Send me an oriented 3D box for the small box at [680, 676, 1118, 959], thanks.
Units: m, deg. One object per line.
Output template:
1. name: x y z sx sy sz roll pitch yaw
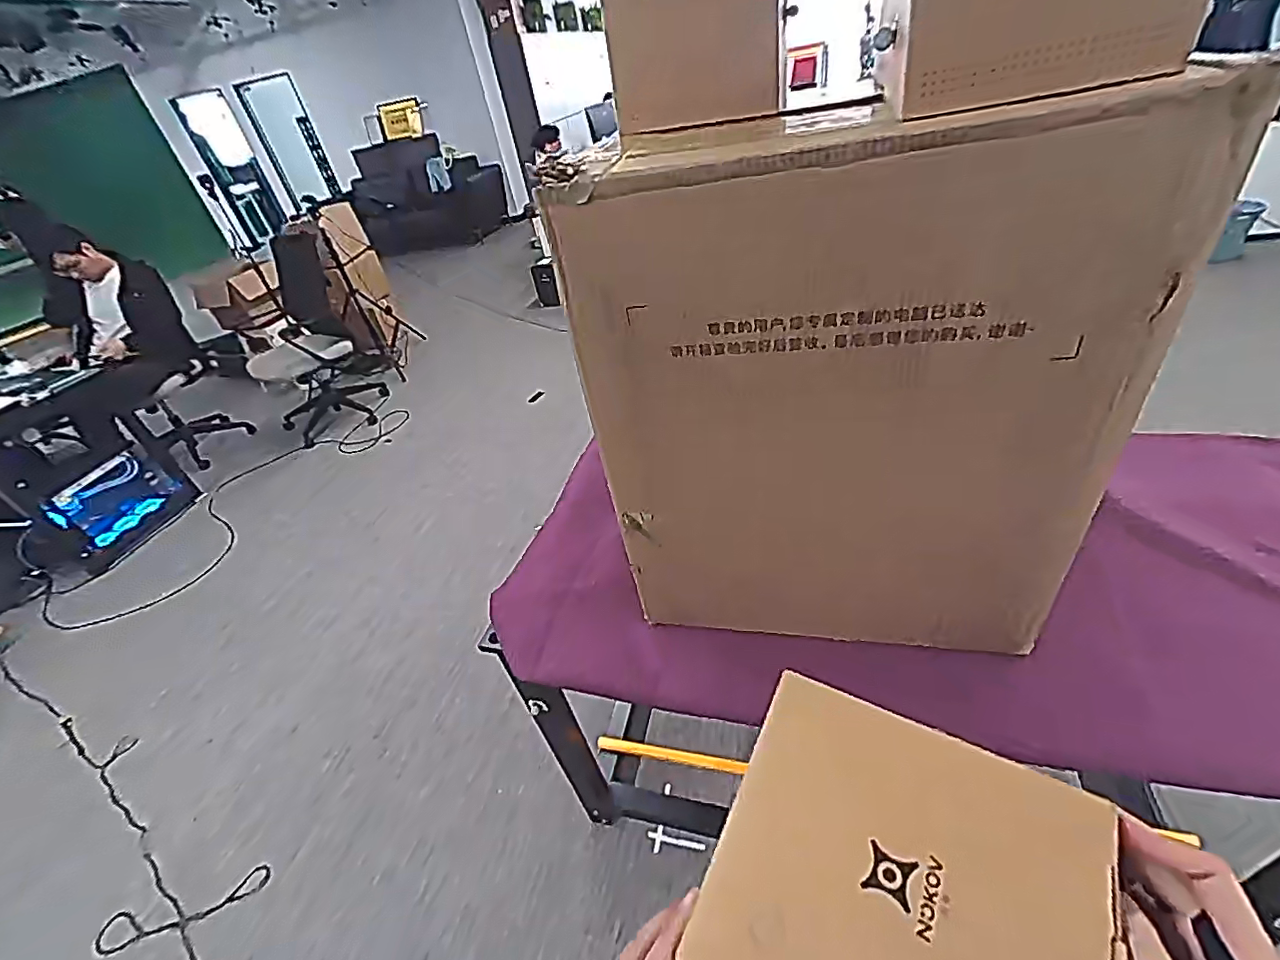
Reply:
1. small box: 0.145 0.258 0.326 0.179 0.176 0.168 16 52 27
